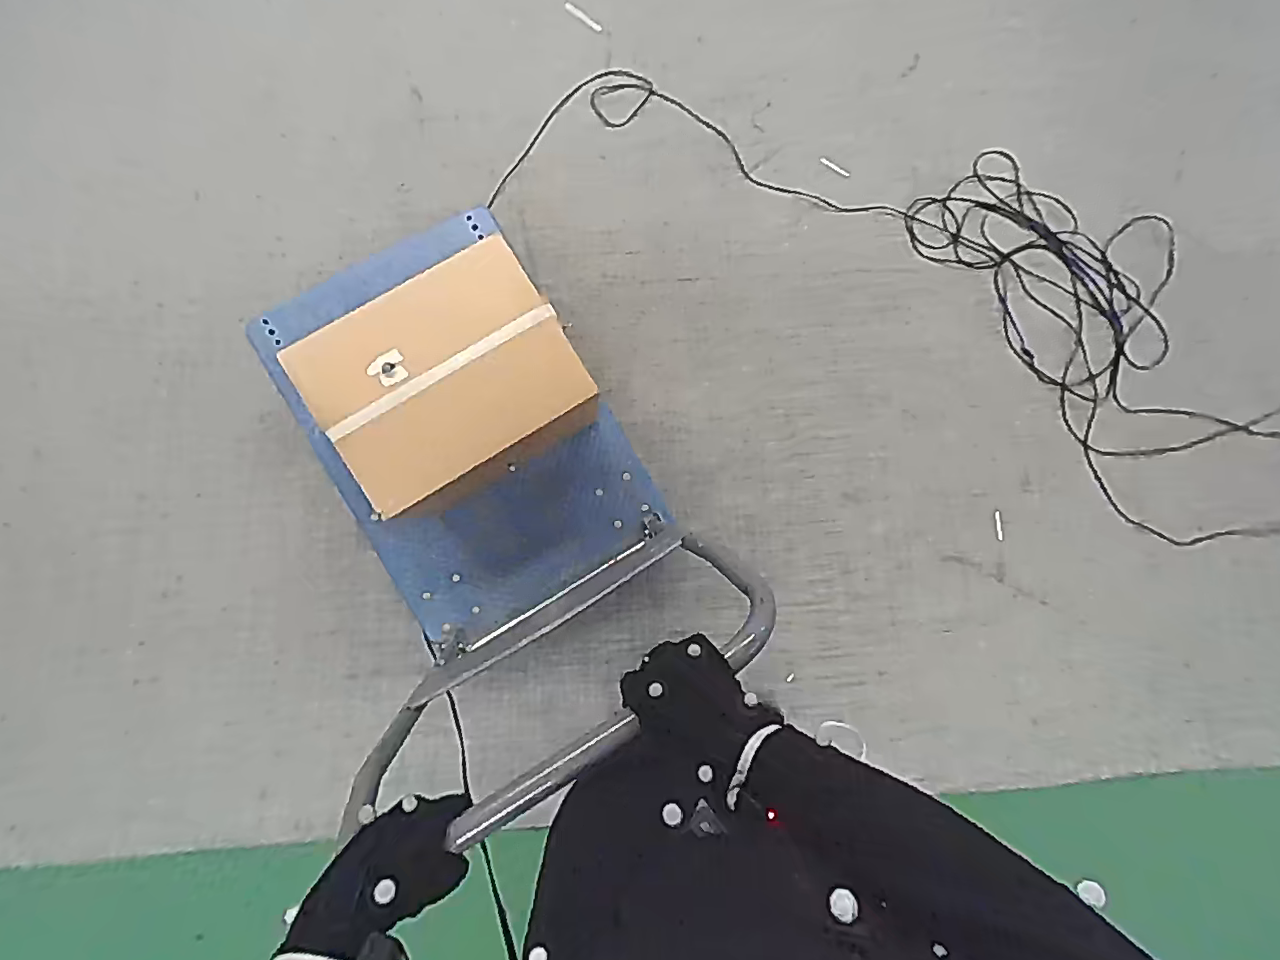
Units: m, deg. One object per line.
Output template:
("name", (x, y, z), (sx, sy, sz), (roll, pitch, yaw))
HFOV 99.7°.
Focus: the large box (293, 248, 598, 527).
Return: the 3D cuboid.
("large box", (-0.328, -0.154, 1.040), (0.408, 0.320, 0.320), (-33, 90, -5))
